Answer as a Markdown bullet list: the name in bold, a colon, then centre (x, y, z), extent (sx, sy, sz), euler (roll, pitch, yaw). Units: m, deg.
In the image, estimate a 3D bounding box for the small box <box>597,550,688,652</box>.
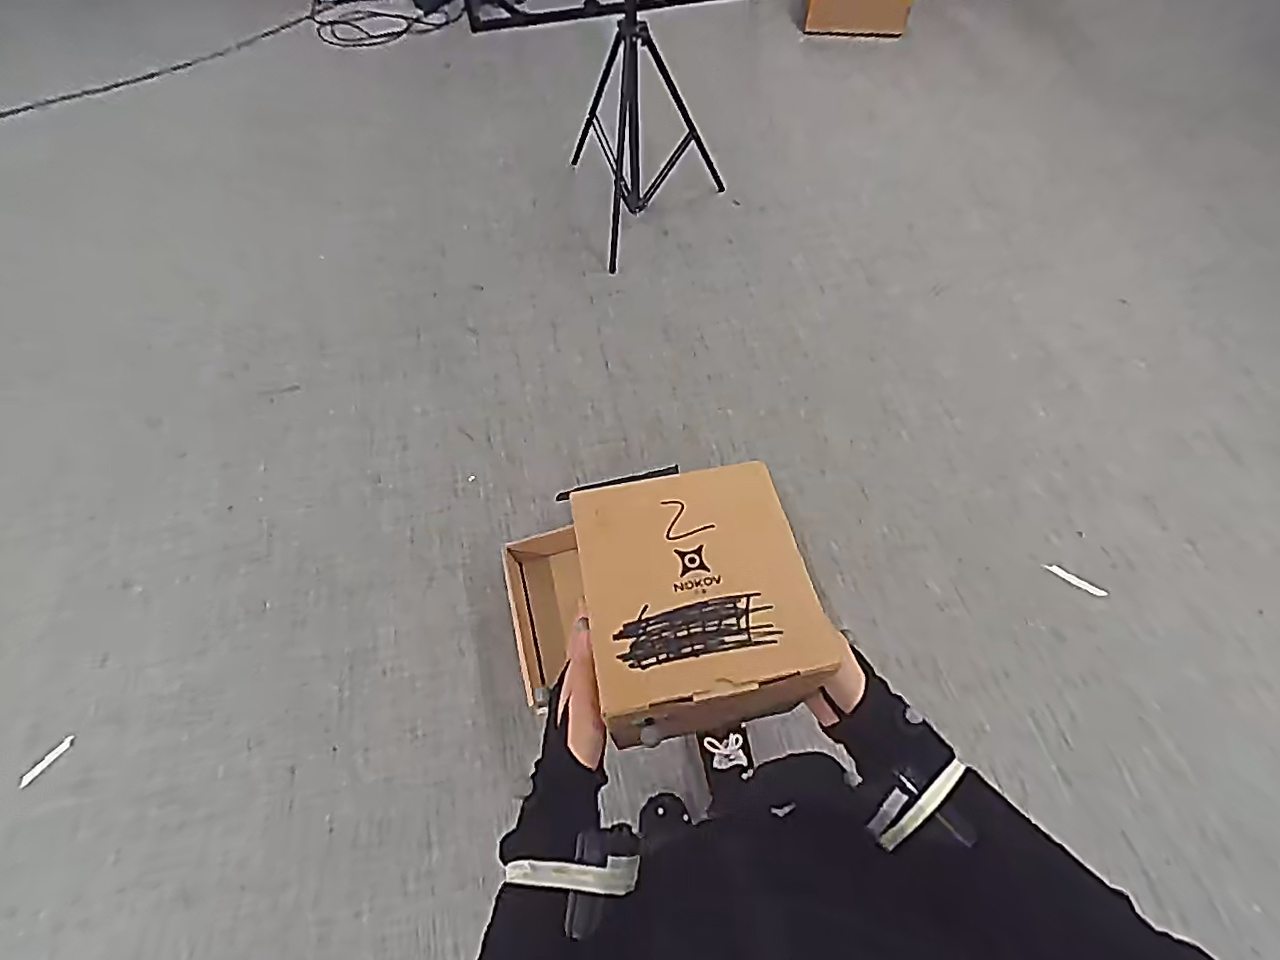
- **small box**: centre (0.003, 0.296, 1.307), extent (0.168, 0.176, 0.179), euler (-20, 67, -7)
